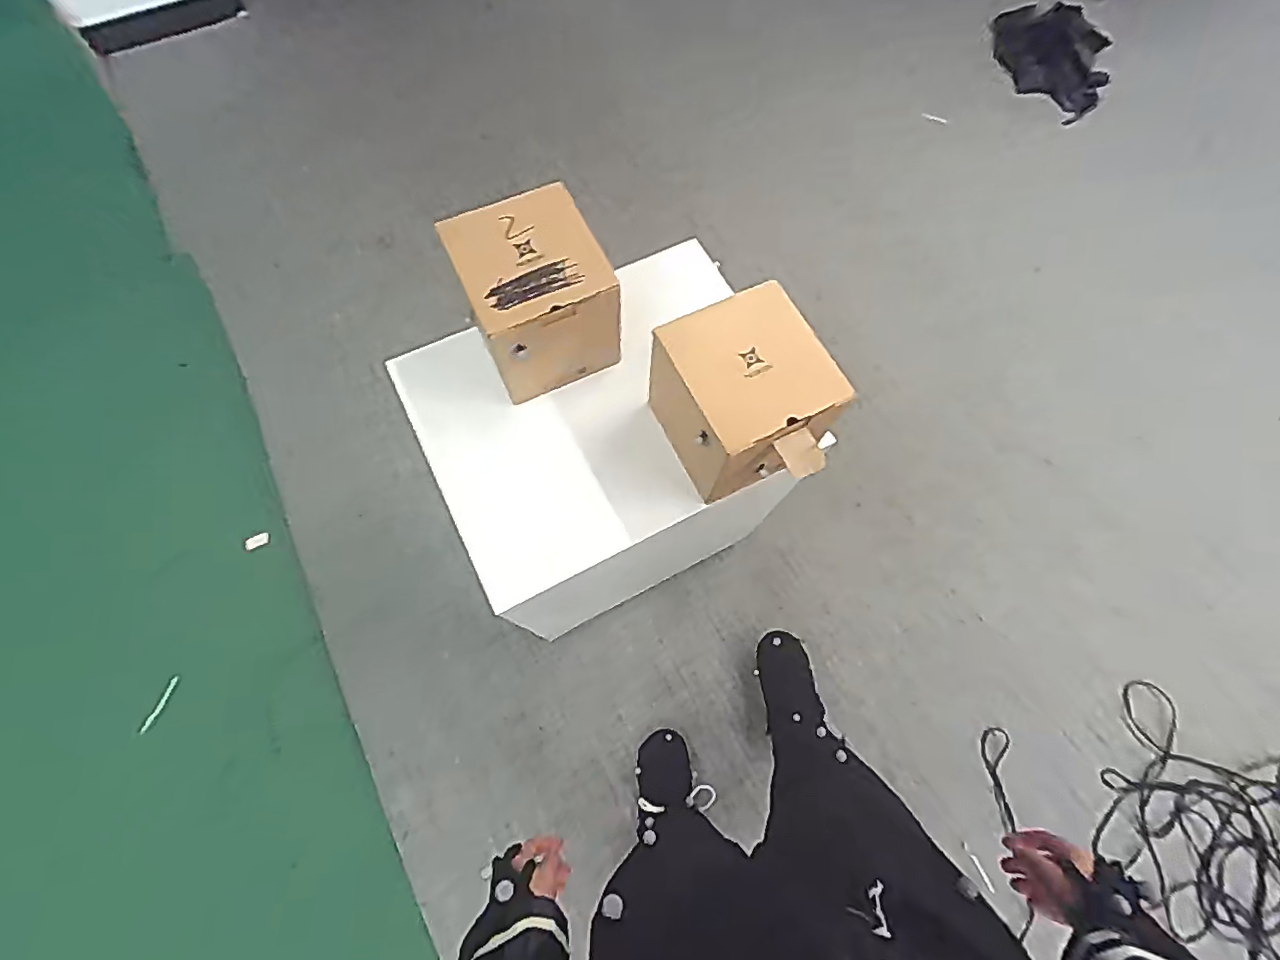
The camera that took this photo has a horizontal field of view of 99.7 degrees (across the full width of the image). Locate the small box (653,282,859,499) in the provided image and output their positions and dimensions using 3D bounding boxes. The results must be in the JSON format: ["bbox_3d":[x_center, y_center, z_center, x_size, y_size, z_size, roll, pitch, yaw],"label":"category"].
[{"bbox_3d":[0.125,-0.102,0.670,0.168,0.176,0.179,-25,72,-10],"label":"small box"}]
